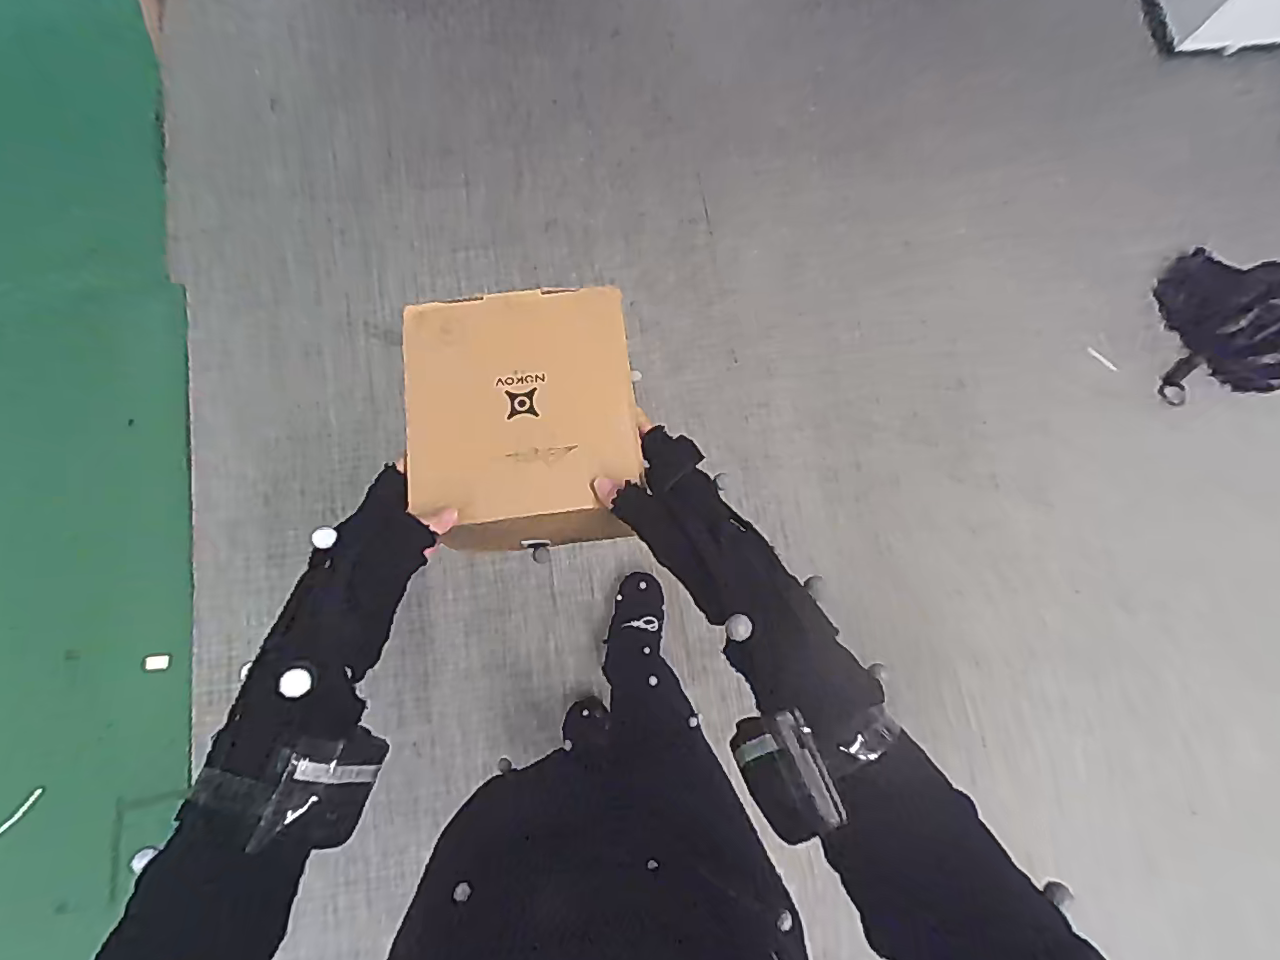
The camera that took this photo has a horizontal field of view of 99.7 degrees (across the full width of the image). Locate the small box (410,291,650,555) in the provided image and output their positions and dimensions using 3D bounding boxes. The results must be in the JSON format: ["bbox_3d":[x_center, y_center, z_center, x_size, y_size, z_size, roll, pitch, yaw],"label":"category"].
[{"bbox_3d":[-0.089,-0.038,0.481,0.168,0.176,0.179,-8,77,-4],"label":"small box"}]
